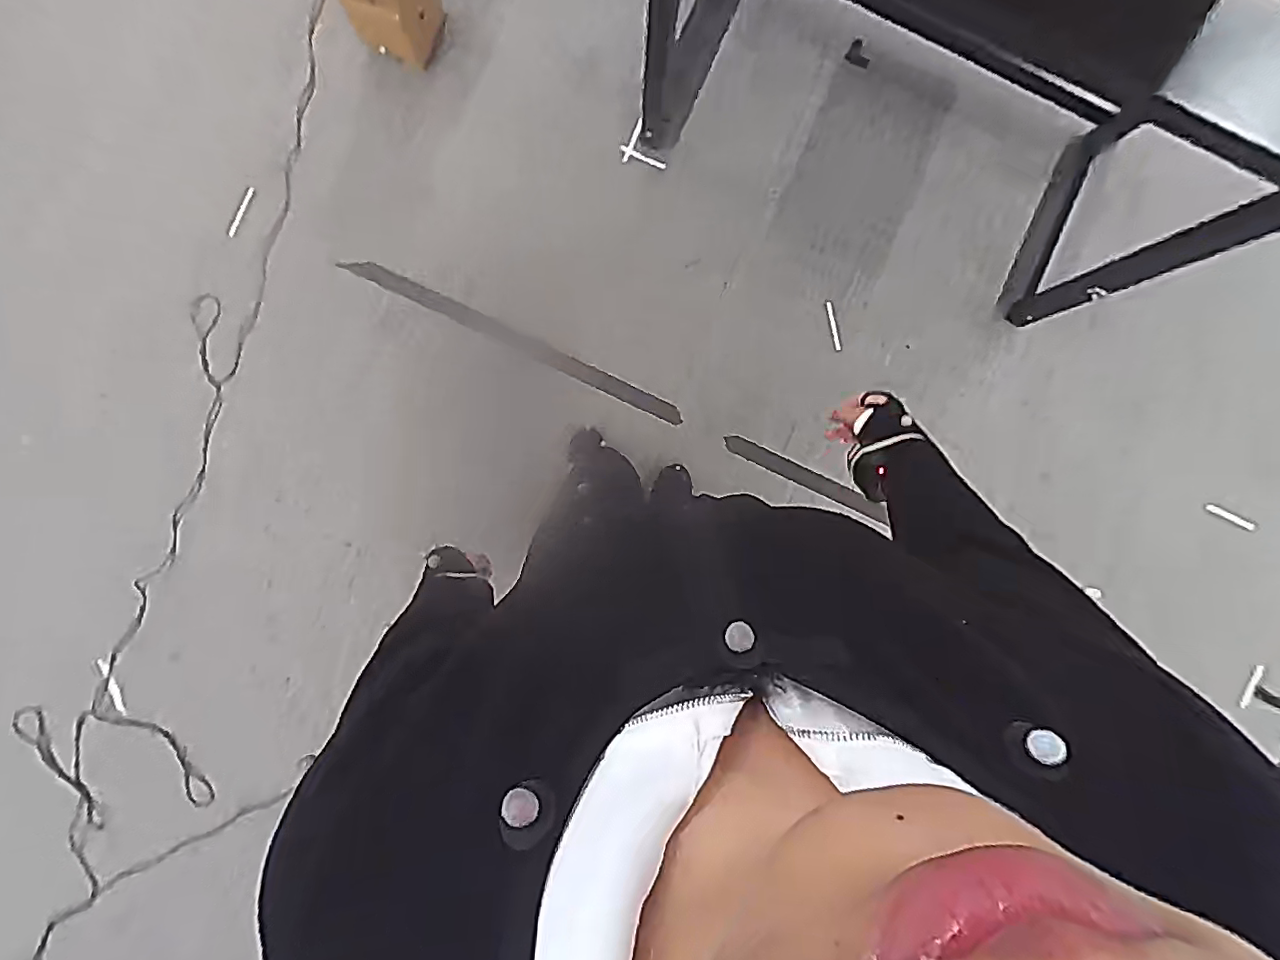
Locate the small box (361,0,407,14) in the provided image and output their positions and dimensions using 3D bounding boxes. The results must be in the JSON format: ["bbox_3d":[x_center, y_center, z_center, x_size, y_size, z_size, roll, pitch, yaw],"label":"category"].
[{"bbox_3d":[-0.617,-1.212,1.212,0.168,0.176,0.179,17,89,-4],"label":"small box"}]

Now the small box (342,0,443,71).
[{"bbox_3d":[-0.623,-1.208,1.374,0.168,0.176,0.179,21,91,-2],"label":"small box"}]
